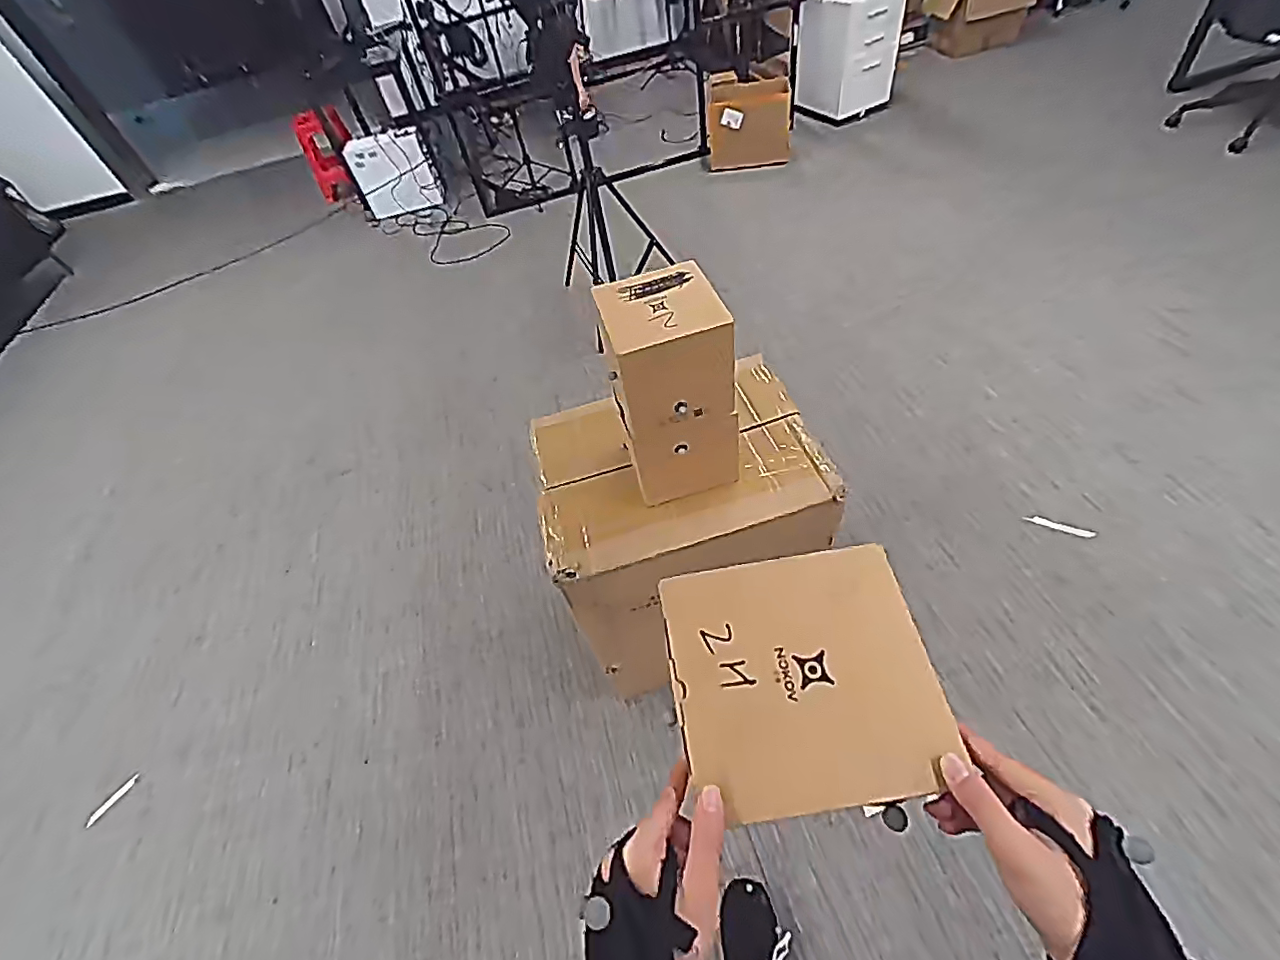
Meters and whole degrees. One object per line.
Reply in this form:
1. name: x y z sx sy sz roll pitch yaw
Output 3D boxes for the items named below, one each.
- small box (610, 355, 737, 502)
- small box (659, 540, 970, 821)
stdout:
1. small box: 0.062 -0.085 0.946 0.179 0.176 0.168 -16 50 -3
2. small box: 0.115 0.168 0.439 0.179 0.176 0.168 -10 57 1
